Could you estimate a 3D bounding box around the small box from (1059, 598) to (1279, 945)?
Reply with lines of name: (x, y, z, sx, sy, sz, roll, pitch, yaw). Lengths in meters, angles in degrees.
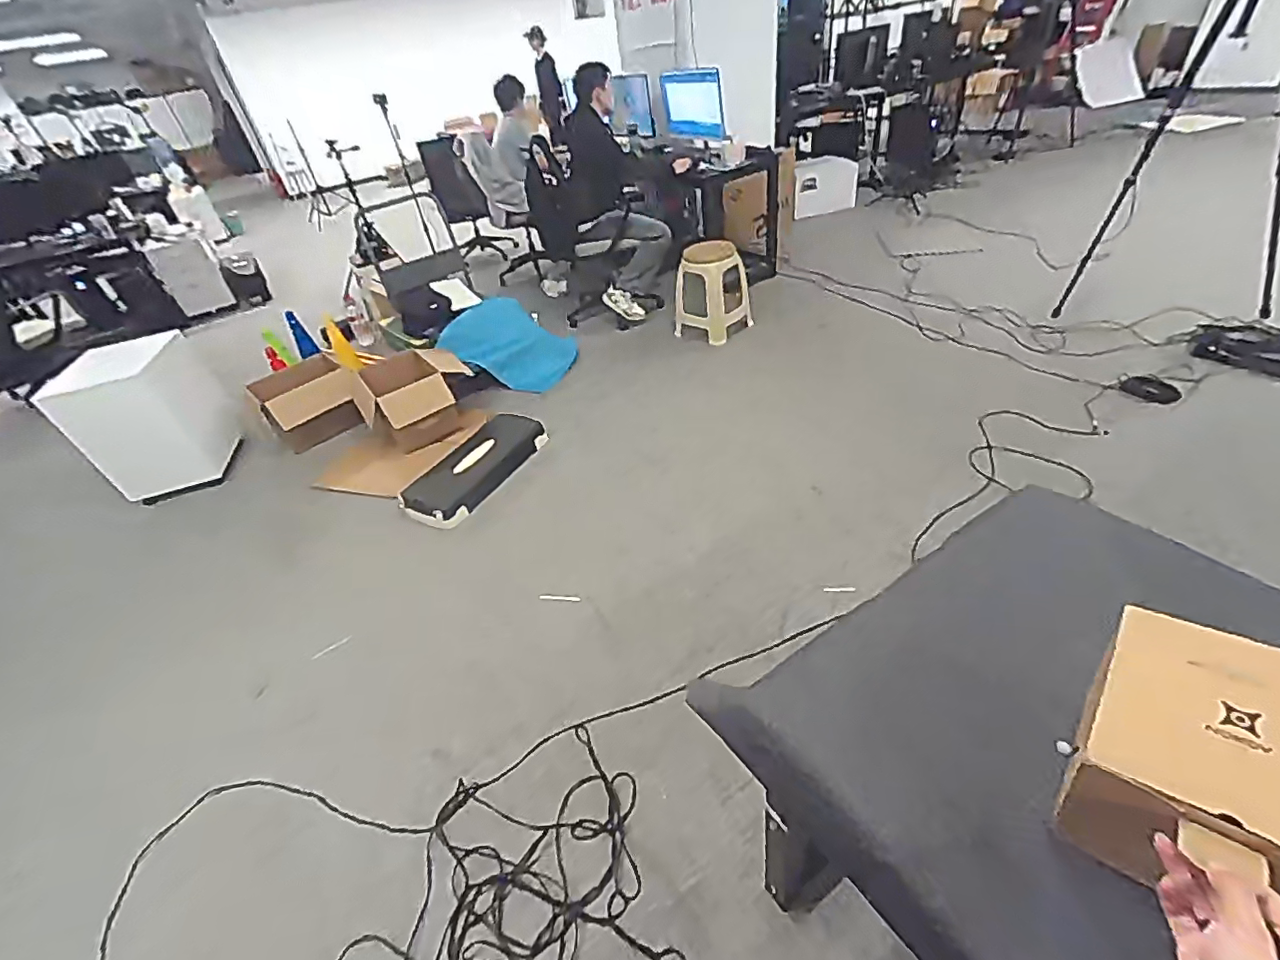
small box: (0.487, 0.243, 0.463, 0.168, 0.176, 0.179, 18, 50, 39)
